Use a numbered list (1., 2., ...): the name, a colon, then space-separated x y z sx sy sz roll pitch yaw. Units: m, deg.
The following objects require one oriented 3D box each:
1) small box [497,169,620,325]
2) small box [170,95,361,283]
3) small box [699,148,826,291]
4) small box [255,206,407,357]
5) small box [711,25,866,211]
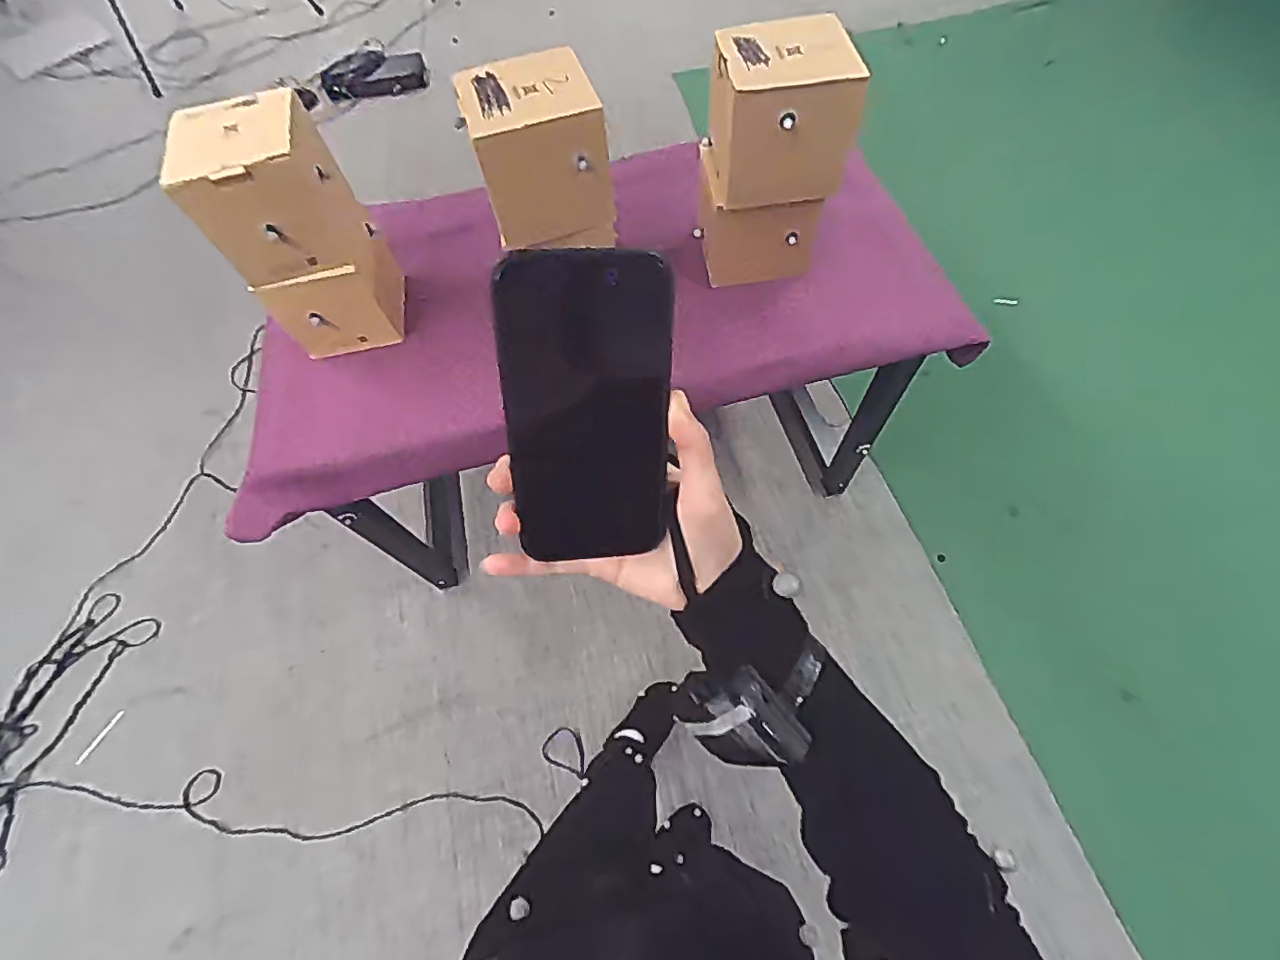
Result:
1. small box: -0.134 -0.398 0.939 0.179 0.176 0.168 -12 62 -2
2. small box: -0.533 -0.415 0.794 0.168 0.176 0.179 -16 63 -5
3. small box: 0.201 -0.457 0.945 0.179 0.176 0.168 -7 62 1
4. small box: -0.520 -0.332 0.936 0.168 0.176 0.179 -12 62 -2
5. small box: 0.201 -0.521 0.794 0.179 0.176 0.168 -7 62 0
